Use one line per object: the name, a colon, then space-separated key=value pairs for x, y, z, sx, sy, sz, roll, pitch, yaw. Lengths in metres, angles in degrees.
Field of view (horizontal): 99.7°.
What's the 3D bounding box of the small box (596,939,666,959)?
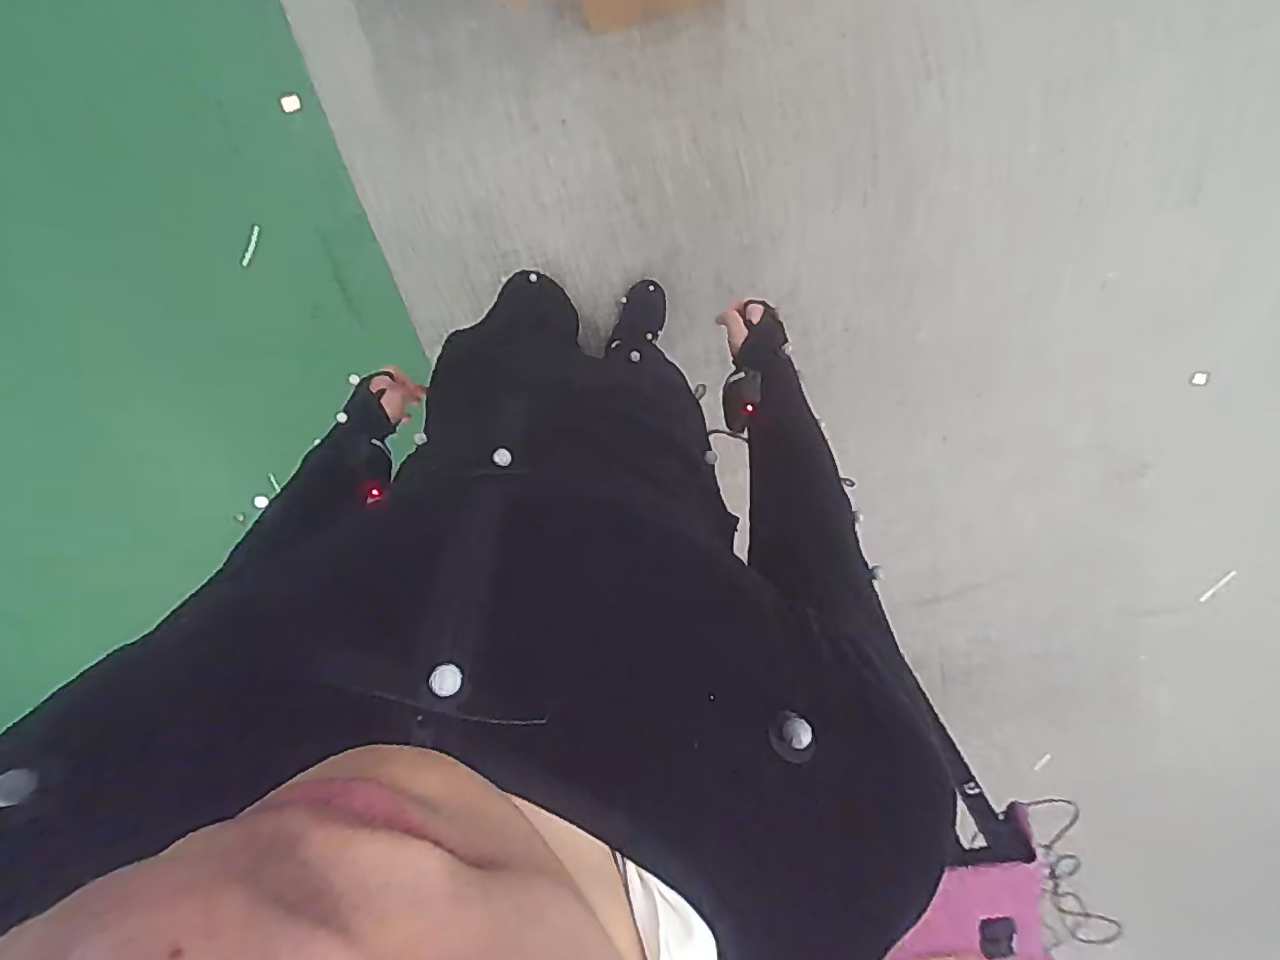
small box: x=-0.011 y=1.275 z=1.323 sx=0.168 sy=0.176 sz=0.179 roll=-16 pitch=111 yaw=7
